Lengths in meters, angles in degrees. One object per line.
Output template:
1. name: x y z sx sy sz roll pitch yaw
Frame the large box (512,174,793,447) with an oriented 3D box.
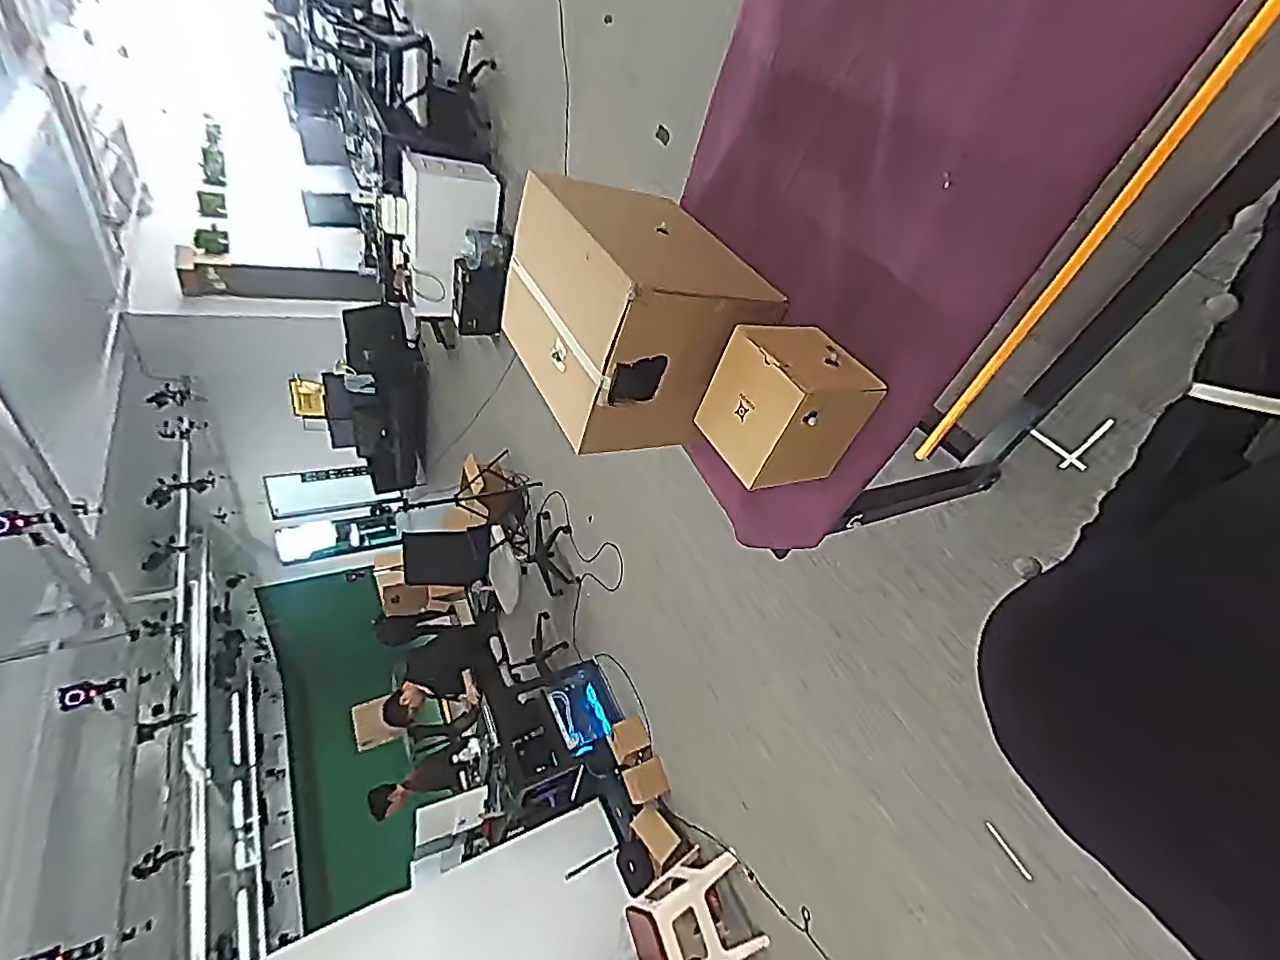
1. large box: -0.005 -0.317 1.012 0.408 0.320 0.320 55 140 33

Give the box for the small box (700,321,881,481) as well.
1. small box: 0.224 -0.121 0.822 0.168 0.176 0.179 57 142 36
